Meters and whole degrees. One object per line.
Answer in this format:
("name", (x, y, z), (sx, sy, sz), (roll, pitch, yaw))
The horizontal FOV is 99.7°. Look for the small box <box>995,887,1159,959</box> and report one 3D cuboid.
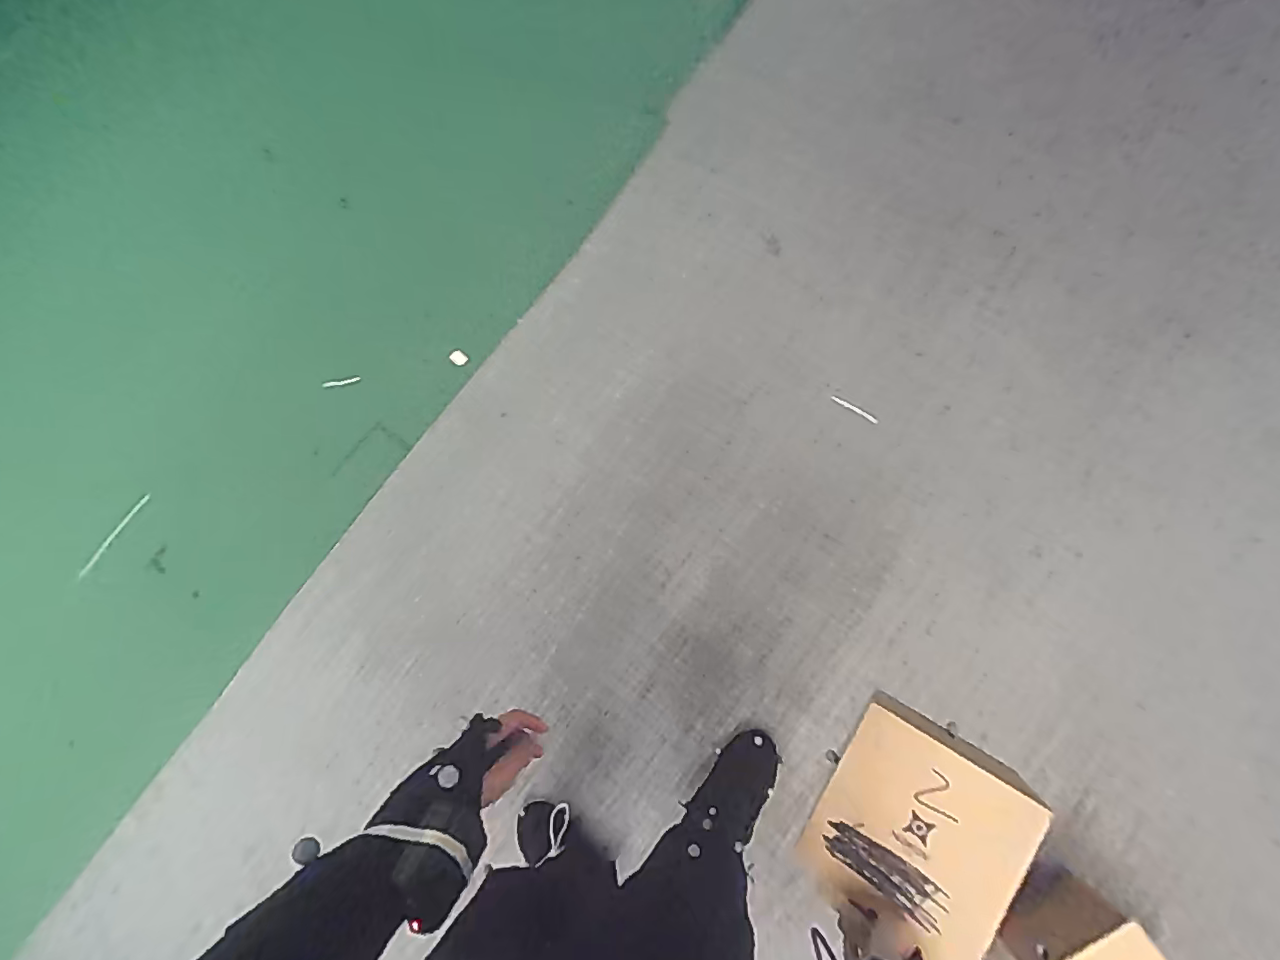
("small box", (0.691, 0.771, 0.817), (0.179, 0.176, 0.168), (-34, 70, 2))
